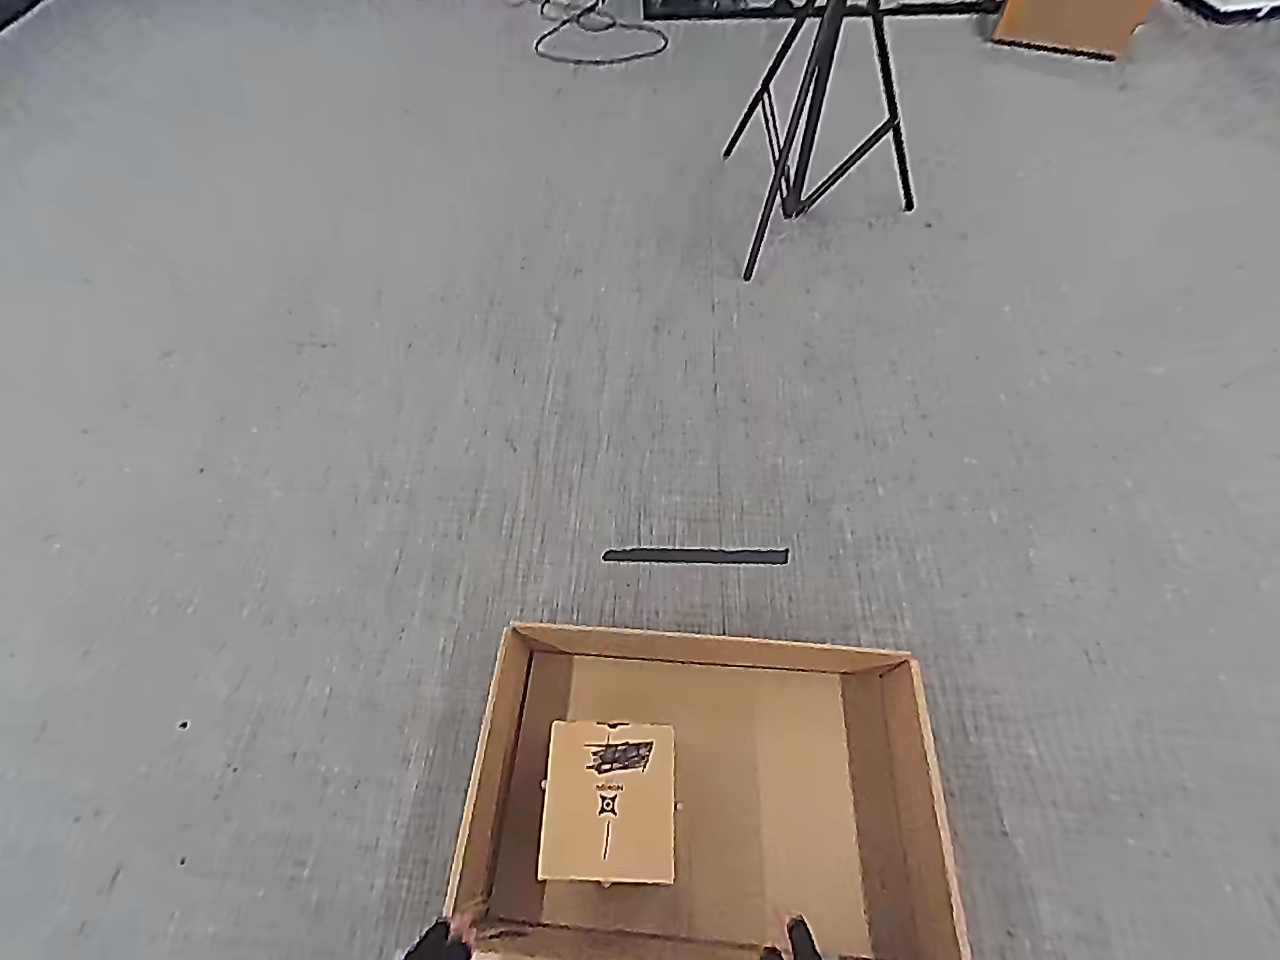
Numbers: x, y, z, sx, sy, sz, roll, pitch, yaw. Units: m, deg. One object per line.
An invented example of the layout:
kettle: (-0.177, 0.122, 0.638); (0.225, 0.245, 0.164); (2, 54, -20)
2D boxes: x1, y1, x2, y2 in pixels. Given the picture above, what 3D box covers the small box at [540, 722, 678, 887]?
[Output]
small box: (-0.034, 0.444, 0.748); (0.168, 0.176, 0.179); (1, 59, 2)
